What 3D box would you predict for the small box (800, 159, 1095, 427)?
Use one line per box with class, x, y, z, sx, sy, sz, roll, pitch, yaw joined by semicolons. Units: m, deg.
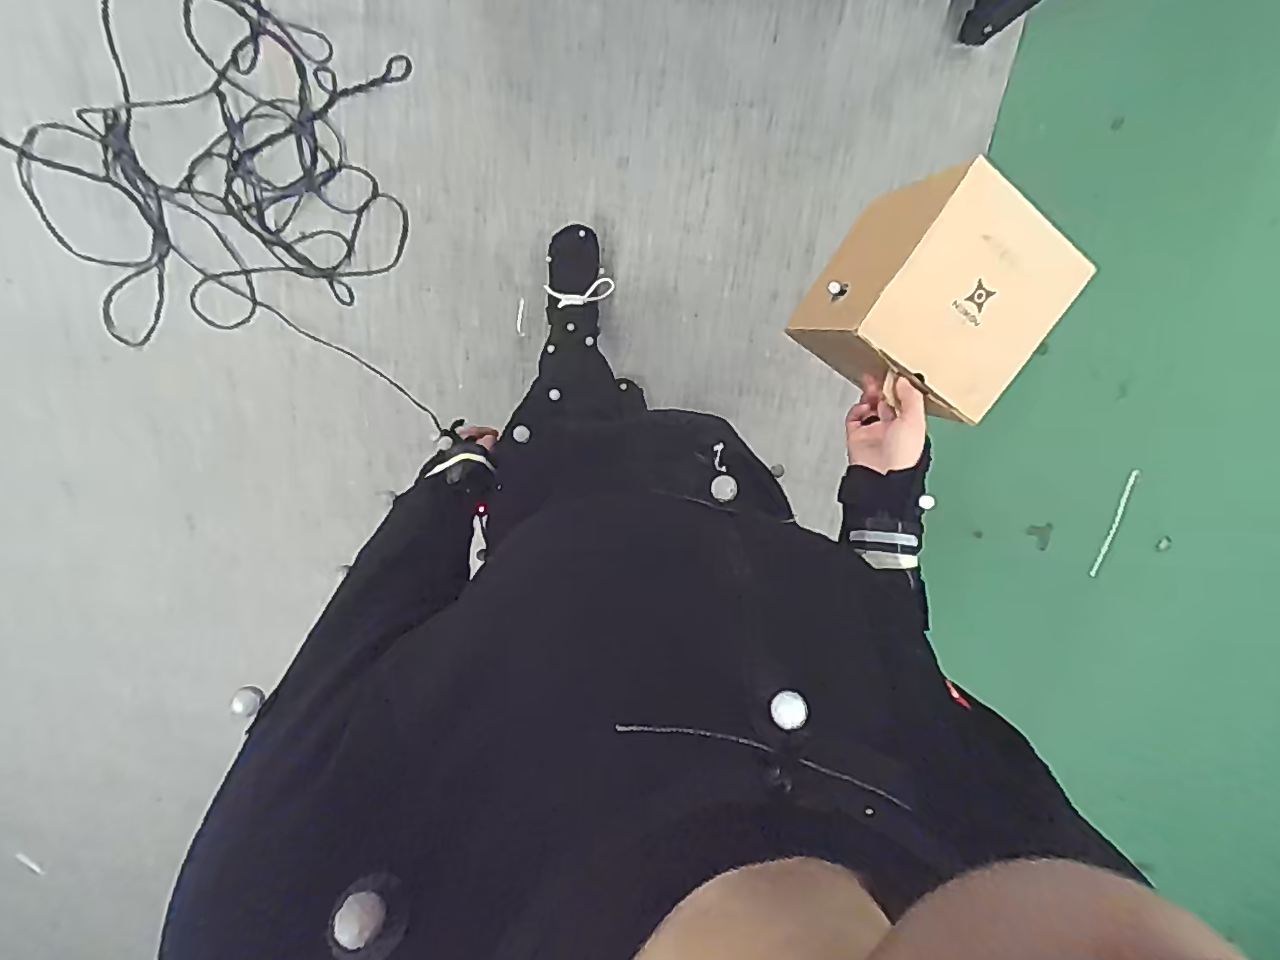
small box;0.294;-0.181;0.564;0.168;0.176;0.179;31;99;-15
